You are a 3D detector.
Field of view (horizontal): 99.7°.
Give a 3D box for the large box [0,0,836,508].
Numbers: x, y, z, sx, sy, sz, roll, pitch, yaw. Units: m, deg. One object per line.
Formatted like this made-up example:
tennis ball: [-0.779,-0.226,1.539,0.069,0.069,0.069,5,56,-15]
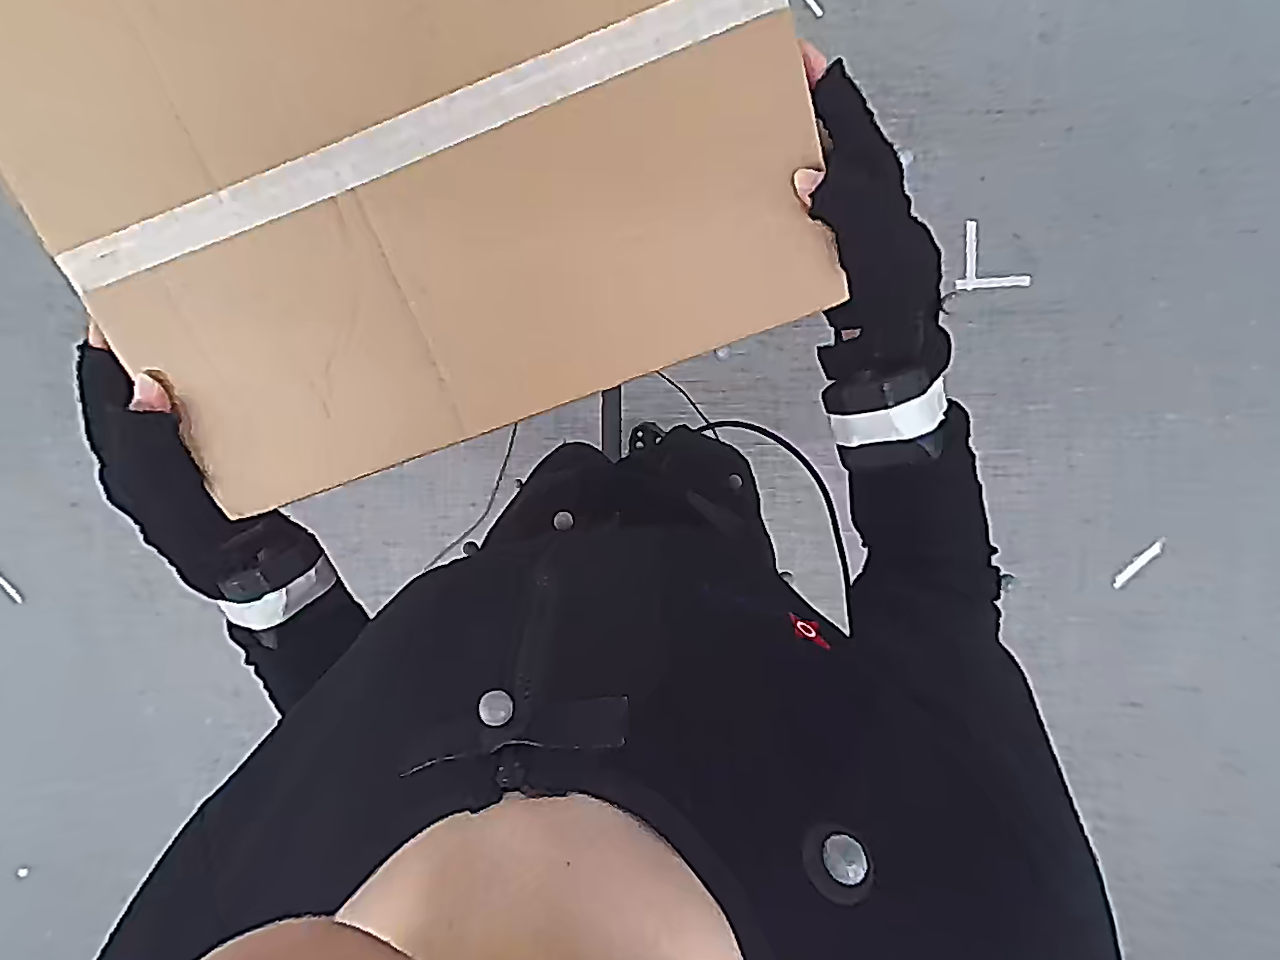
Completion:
large box: [-0.120,-0.228,0.432,0.408,0.320,0.320,-18,108,4]
